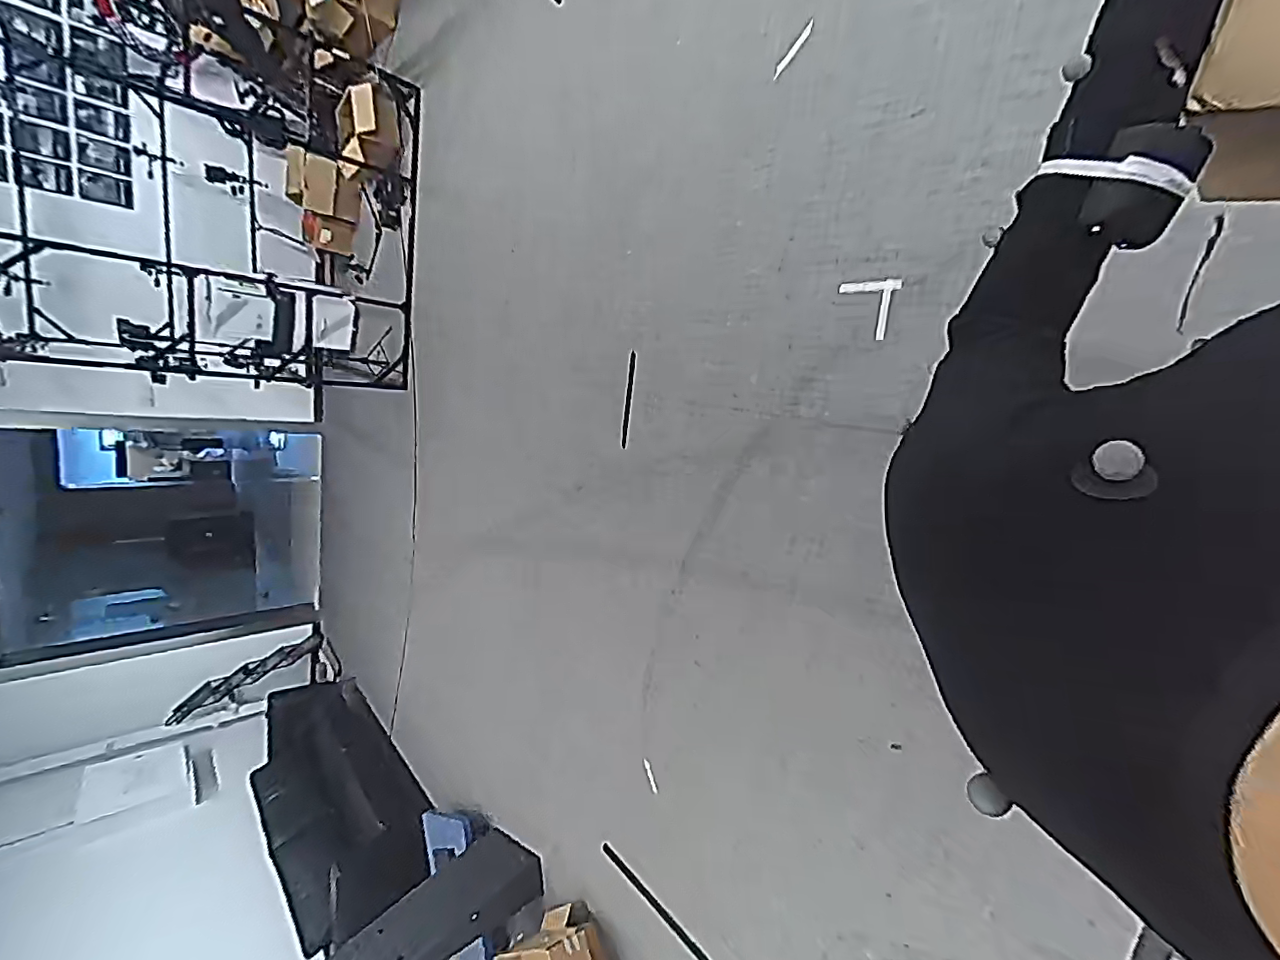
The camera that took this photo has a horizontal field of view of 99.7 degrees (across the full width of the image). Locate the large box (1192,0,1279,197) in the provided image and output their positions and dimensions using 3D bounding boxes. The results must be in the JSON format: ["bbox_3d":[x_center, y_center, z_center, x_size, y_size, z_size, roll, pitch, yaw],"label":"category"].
[{"bbox_3d":[0.624,-0.356,0.285,0.408,0.320,0.320,25,117,41],"label":"large box"}]
